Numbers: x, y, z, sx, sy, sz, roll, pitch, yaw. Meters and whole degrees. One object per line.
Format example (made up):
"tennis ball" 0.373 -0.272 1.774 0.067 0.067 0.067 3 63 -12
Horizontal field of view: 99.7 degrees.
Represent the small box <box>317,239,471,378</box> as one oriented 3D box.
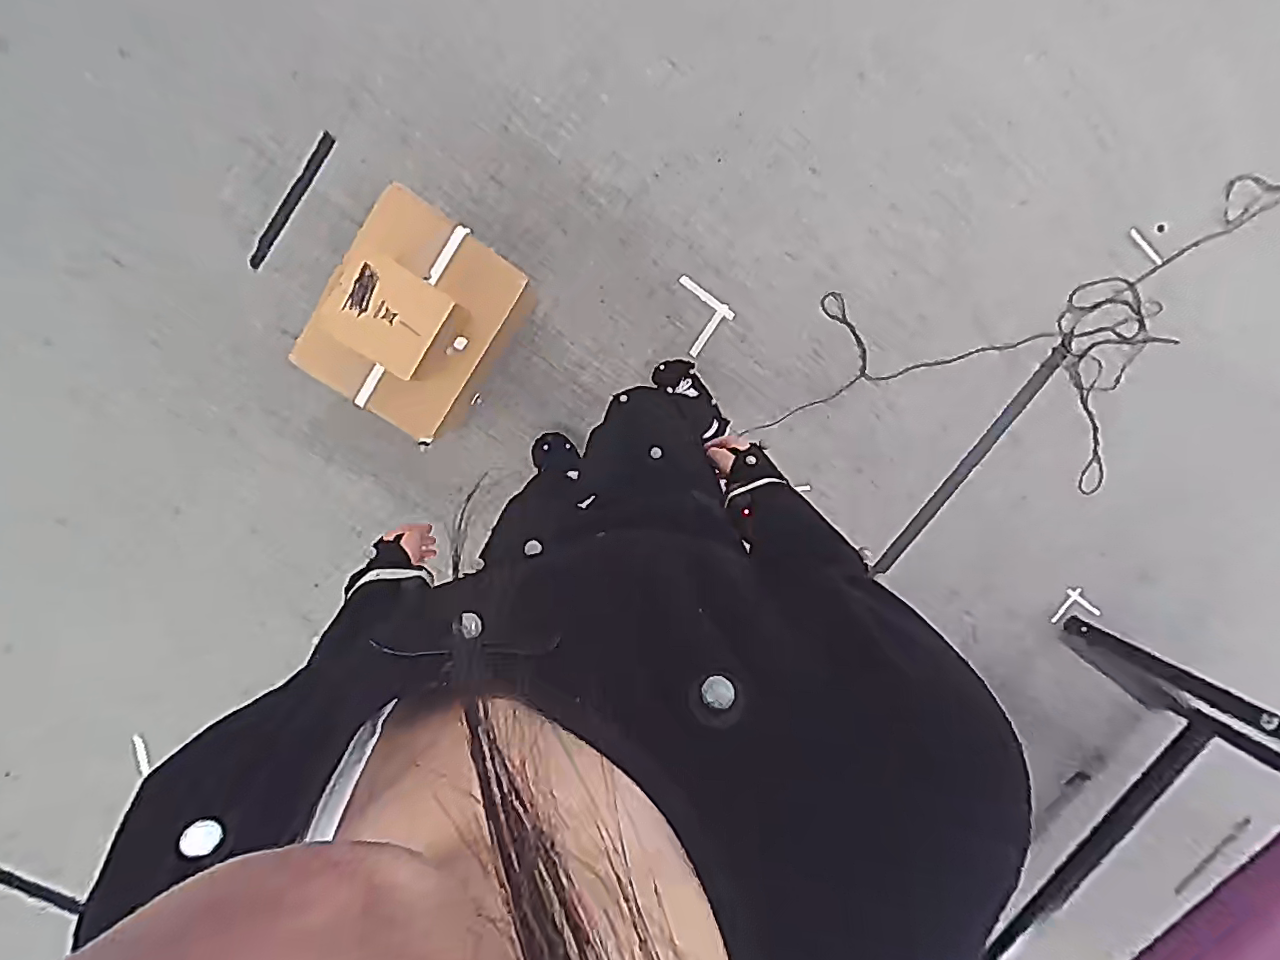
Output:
"small box" -0.435 -0.300 0.987 0.179 0.176 0.168 32 96 -13
